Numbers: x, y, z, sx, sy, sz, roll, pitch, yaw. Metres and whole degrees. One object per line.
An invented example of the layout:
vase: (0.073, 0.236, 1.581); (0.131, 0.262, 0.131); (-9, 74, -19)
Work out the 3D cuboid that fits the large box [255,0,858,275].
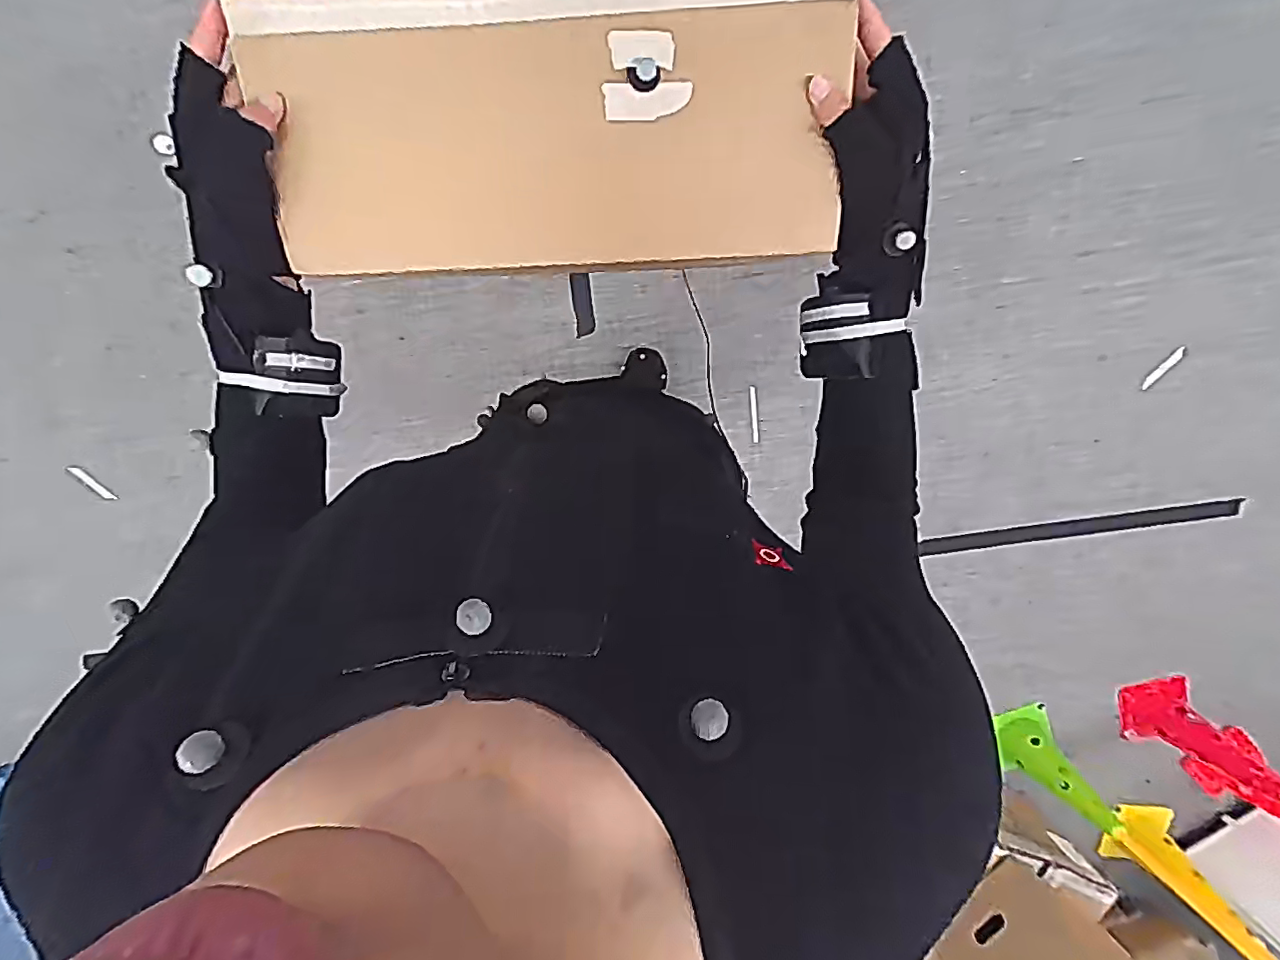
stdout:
large box: (-0.057, -0.365, 0.492); (0.408, 0.320, 0.320); (-2, 111, 1)
